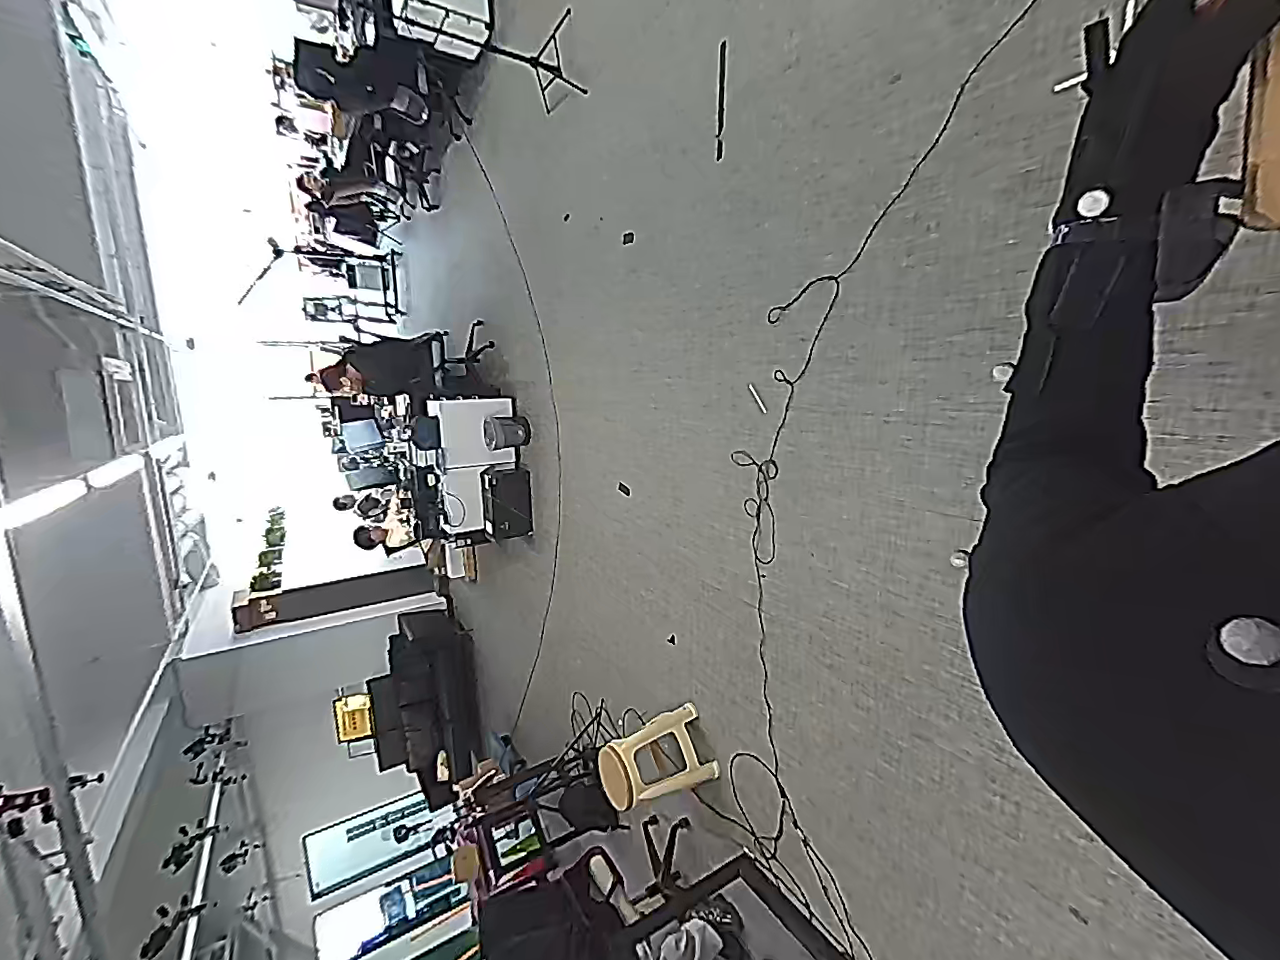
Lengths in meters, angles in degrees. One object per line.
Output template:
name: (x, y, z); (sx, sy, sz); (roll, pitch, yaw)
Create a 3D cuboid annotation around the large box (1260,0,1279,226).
large box: (0.579, -0.323, 0.220); (0.408, 0.320, 0.320); (7, 111, 54)
